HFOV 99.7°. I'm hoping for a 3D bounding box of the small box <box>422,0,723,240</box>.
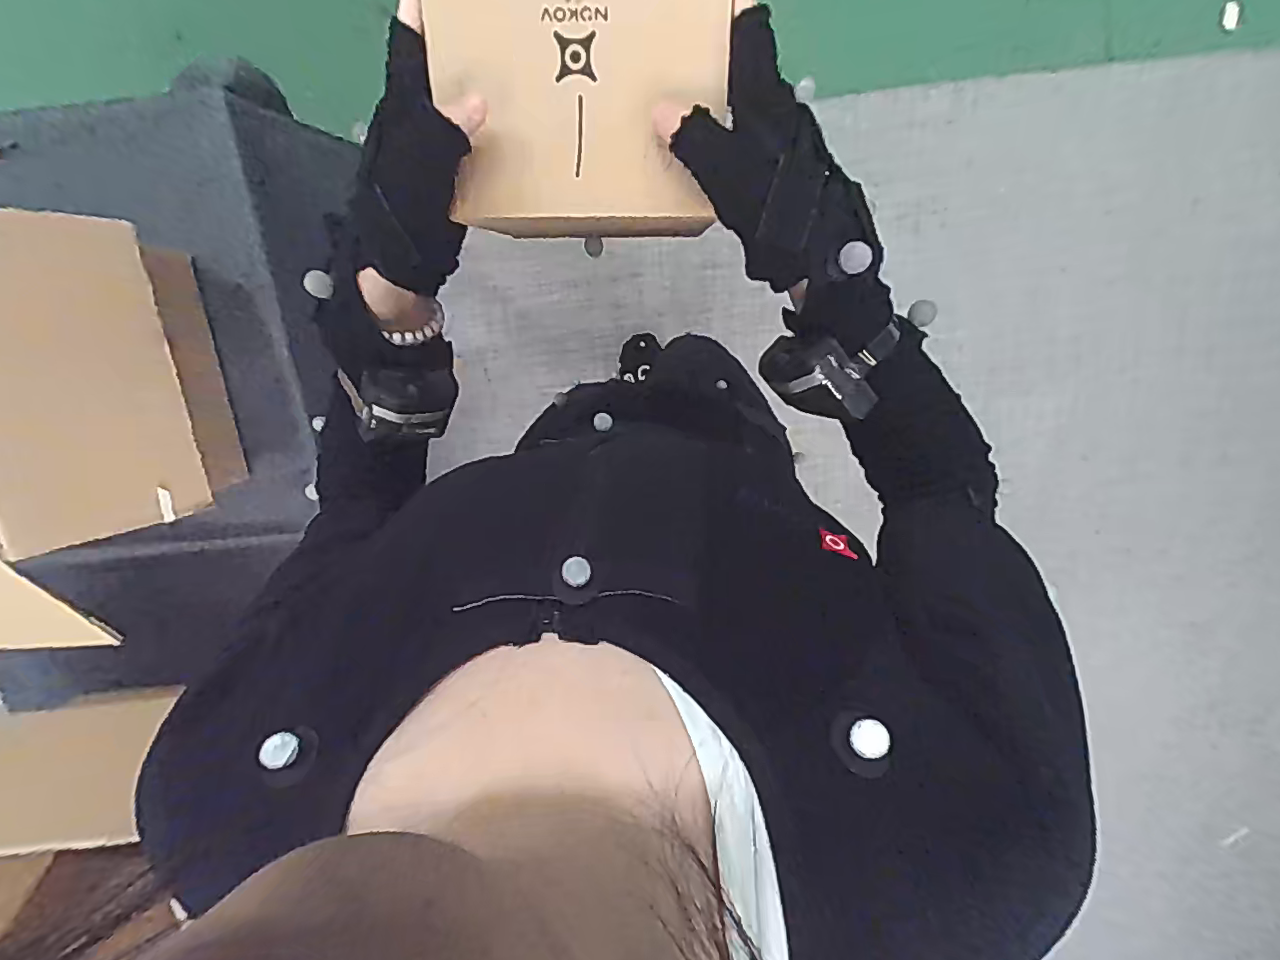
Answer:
[{"bbox_3d":[-0.037,-0.268,0.373,0.168,0.176,0.179,0,111,0],"label":"small box"}]
